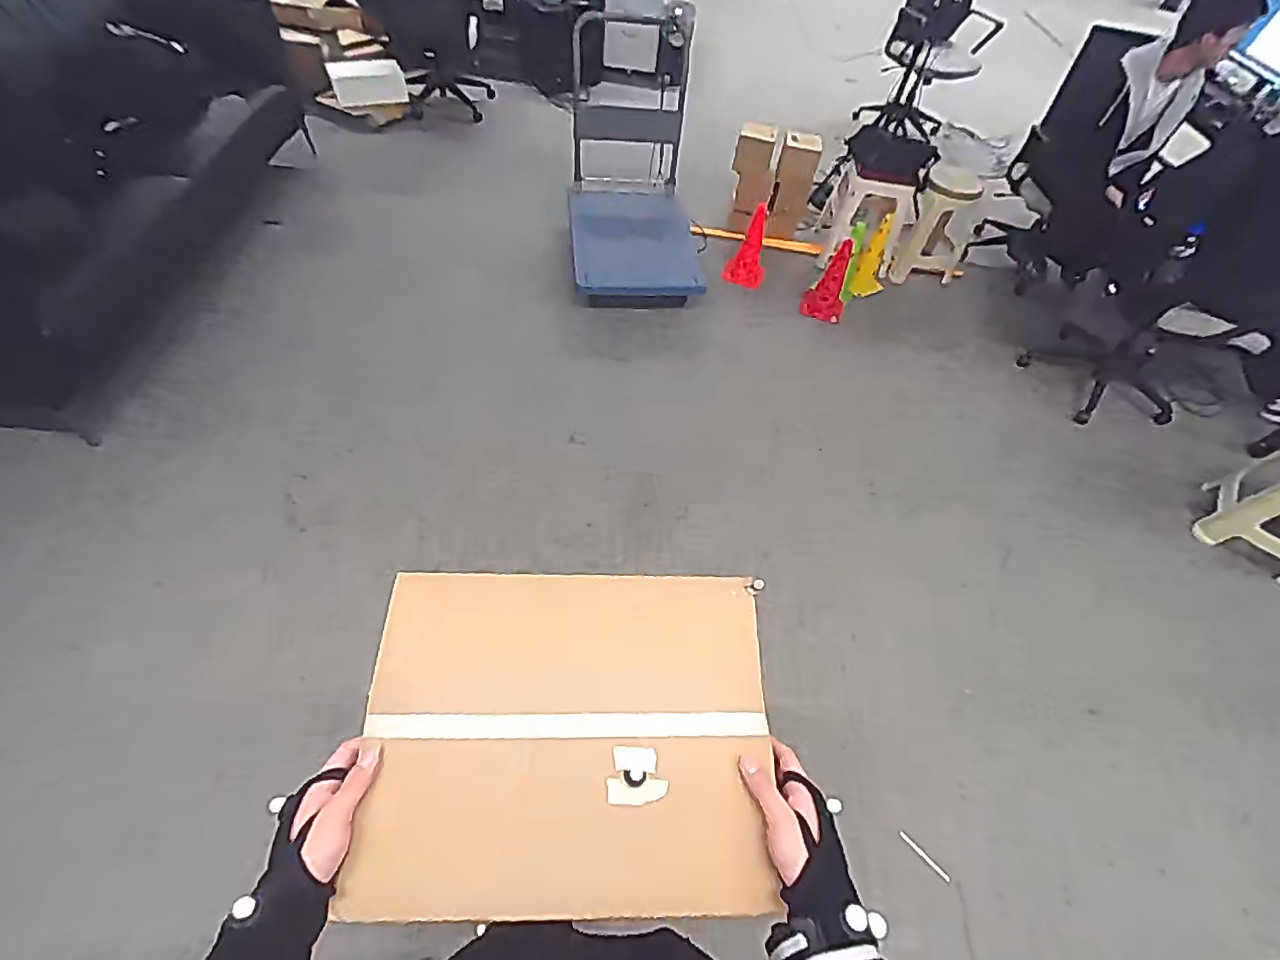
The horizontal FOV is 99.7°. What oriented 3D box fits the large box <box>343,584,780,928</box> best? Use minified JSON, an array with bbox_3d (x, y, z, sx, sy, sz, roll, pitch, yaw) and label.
[{"bbox_3d":[-0.080,0.329,0.688,0.408,0.320,0.320,1,62,-3],"label":"large box"}]
